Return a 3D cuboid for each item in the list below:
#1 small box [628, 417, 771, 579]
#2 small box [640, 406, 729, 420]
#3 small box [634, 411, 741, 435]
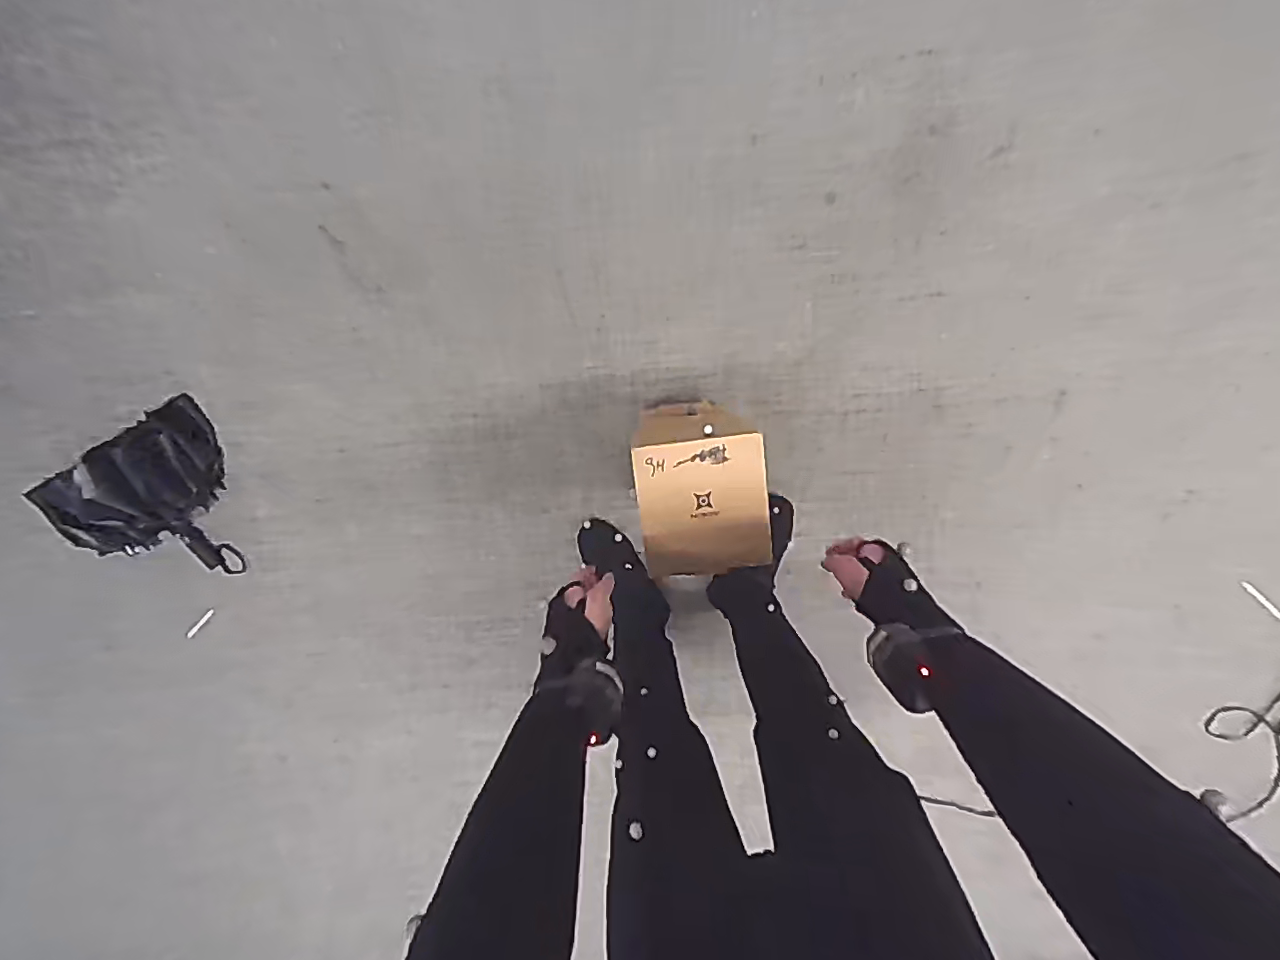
[{"bbox_3d":[0.079,0.017,0.751,0.168,0.176,0.179,-7,103,3],"label":"small box"},{"bbox_3d":[0.087,-0.052,1.069,0.168,0.176,0.179,-5,102,3],"label":"small box"},{"bbox_3d":[0.082,-0.017,0.911,0.168,0.176,0.179,-6,101,2],"label":"small box"}]
